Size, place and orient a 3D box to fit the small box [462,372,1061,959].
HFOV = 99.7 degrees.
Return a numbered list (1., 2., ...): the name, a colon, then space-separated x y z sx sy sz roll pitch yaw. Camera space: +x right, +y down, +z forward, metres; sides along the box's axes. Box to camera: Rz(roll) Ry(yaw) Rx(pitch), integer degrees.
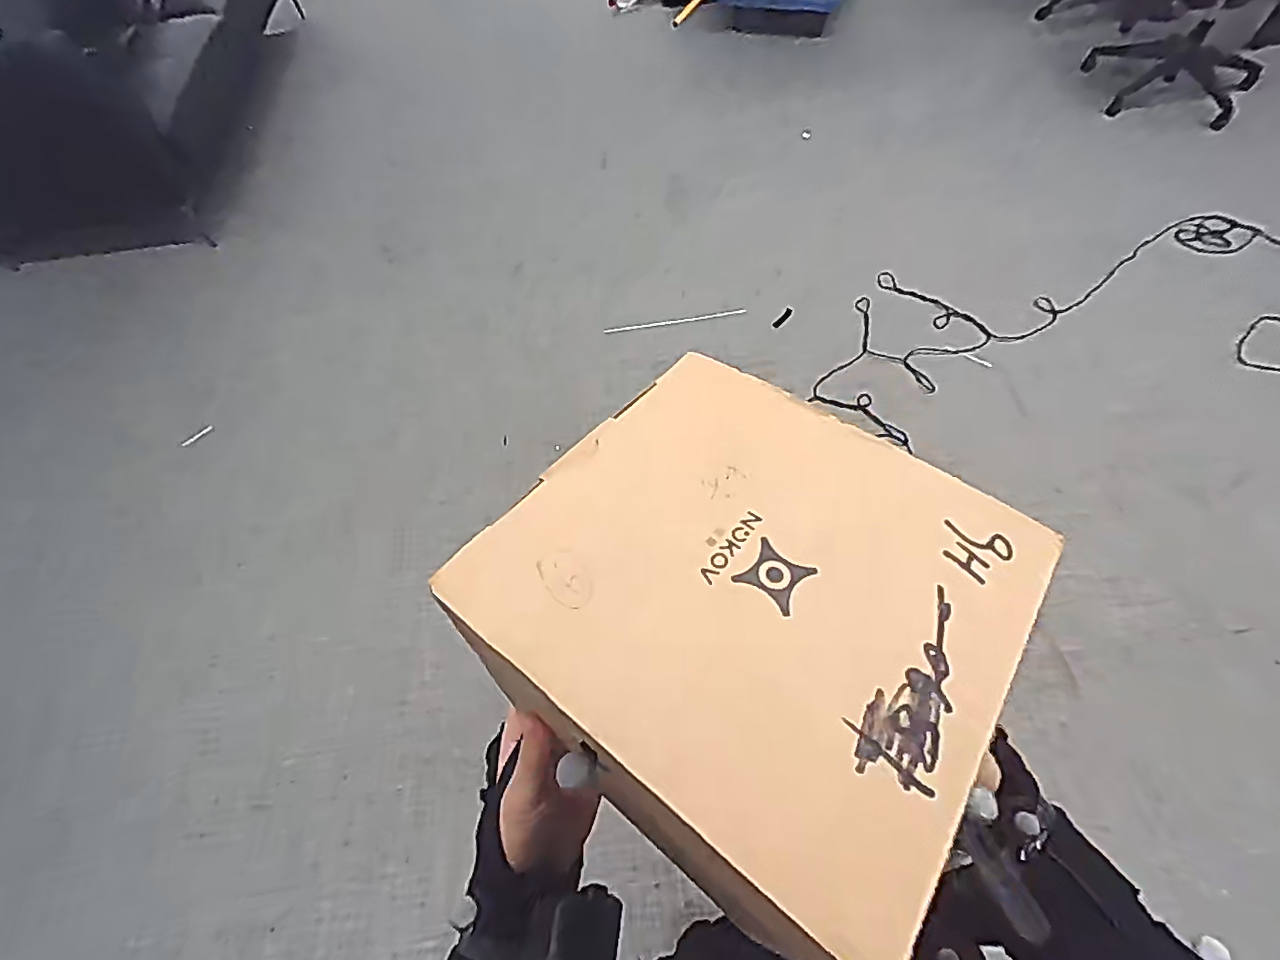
1. small box: 0.048 0.084 0.269 0.179 0.176 0.168 32 60 22
